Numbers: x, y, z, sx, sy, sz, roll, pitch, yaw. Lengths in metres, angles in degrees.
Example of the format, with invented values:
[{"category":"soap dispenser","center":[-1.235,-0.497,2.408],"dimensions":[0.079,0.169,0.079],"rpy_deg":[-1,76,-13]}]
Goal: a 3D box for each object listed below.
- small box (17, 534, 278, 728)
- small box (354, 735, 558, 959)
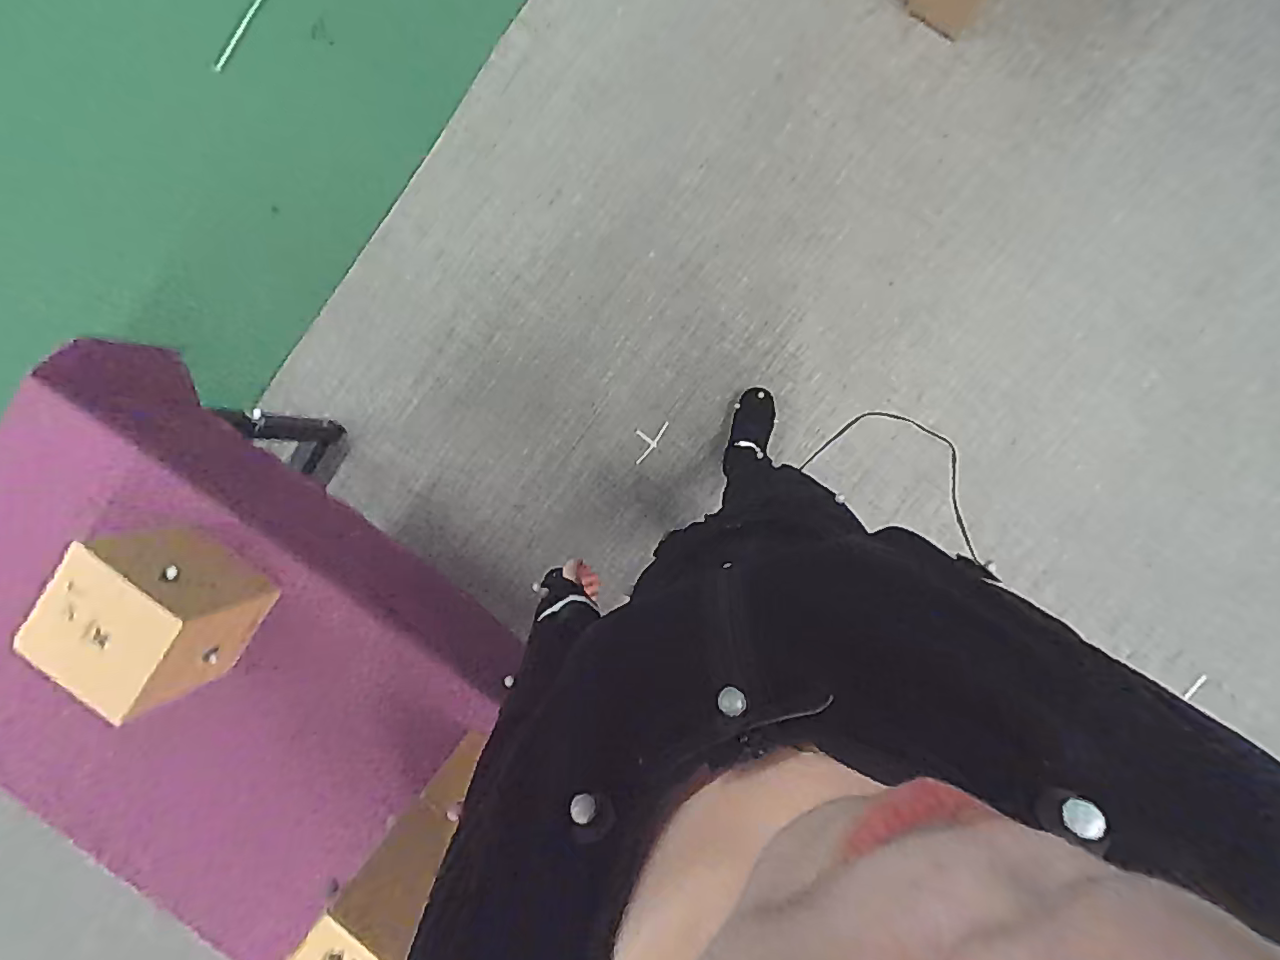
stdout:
[{"category":"small box","center":[-0.657,0.191,0.746],"dimensions":[0.179,0.176,0.168],"rpy_deg":[35,94,2]},{"category":"small box","center":[-0.231,0.493,0.731],"dimensions":[0.168,0.176,0.179],"rpy_deg":[35,94,2]}]
